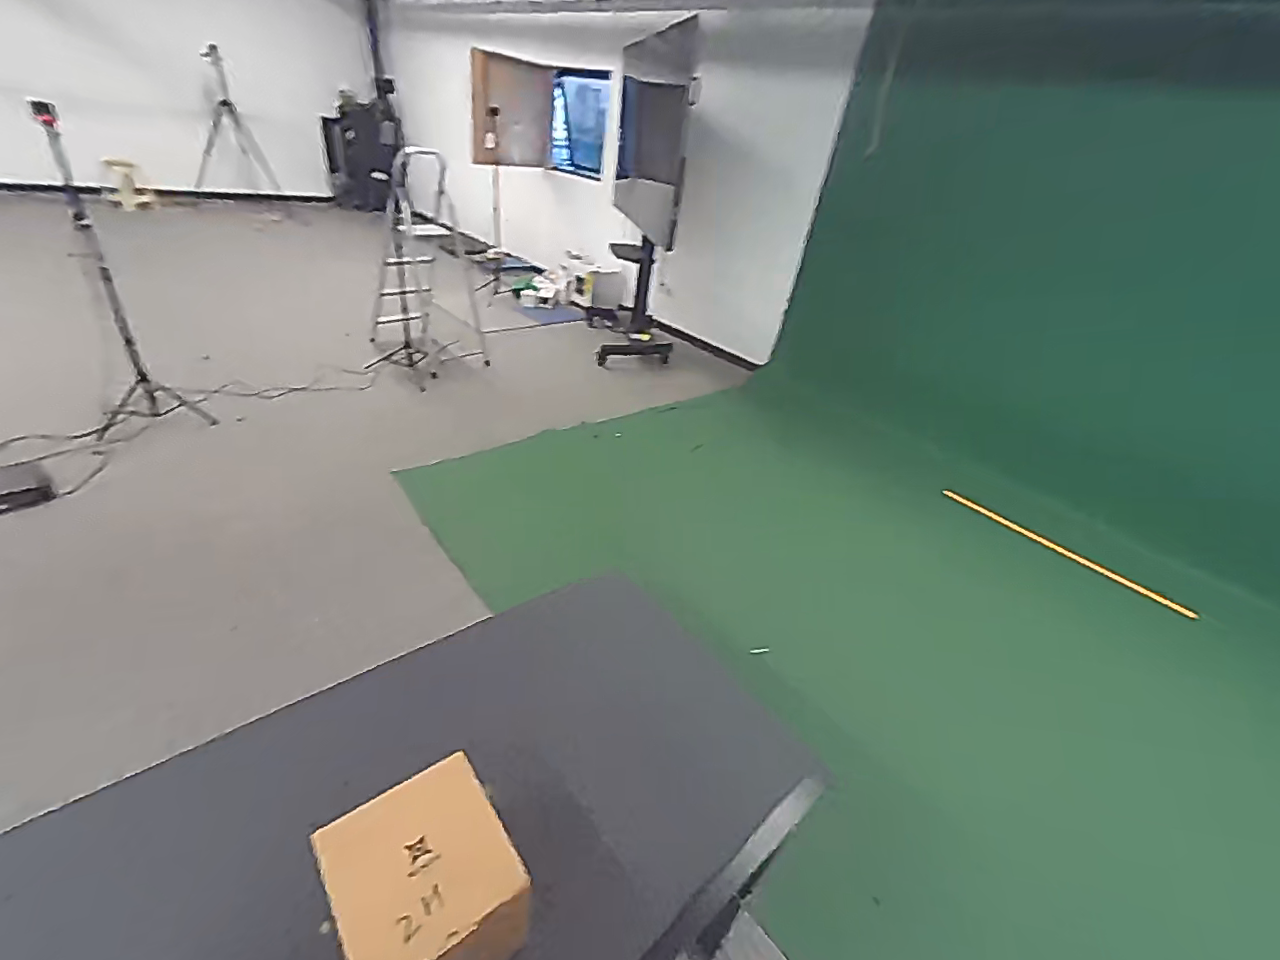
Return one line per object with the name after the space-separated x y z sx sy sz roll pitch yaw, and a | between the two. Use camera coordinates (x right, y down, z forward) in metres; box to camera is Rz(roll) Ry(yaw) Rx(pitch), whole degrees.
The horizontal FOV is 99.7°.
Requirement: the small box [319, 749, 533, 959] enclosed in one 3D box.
-0.237 0.457 0.606 0.168 0.176 0.179 -19 42 -36 | small box
